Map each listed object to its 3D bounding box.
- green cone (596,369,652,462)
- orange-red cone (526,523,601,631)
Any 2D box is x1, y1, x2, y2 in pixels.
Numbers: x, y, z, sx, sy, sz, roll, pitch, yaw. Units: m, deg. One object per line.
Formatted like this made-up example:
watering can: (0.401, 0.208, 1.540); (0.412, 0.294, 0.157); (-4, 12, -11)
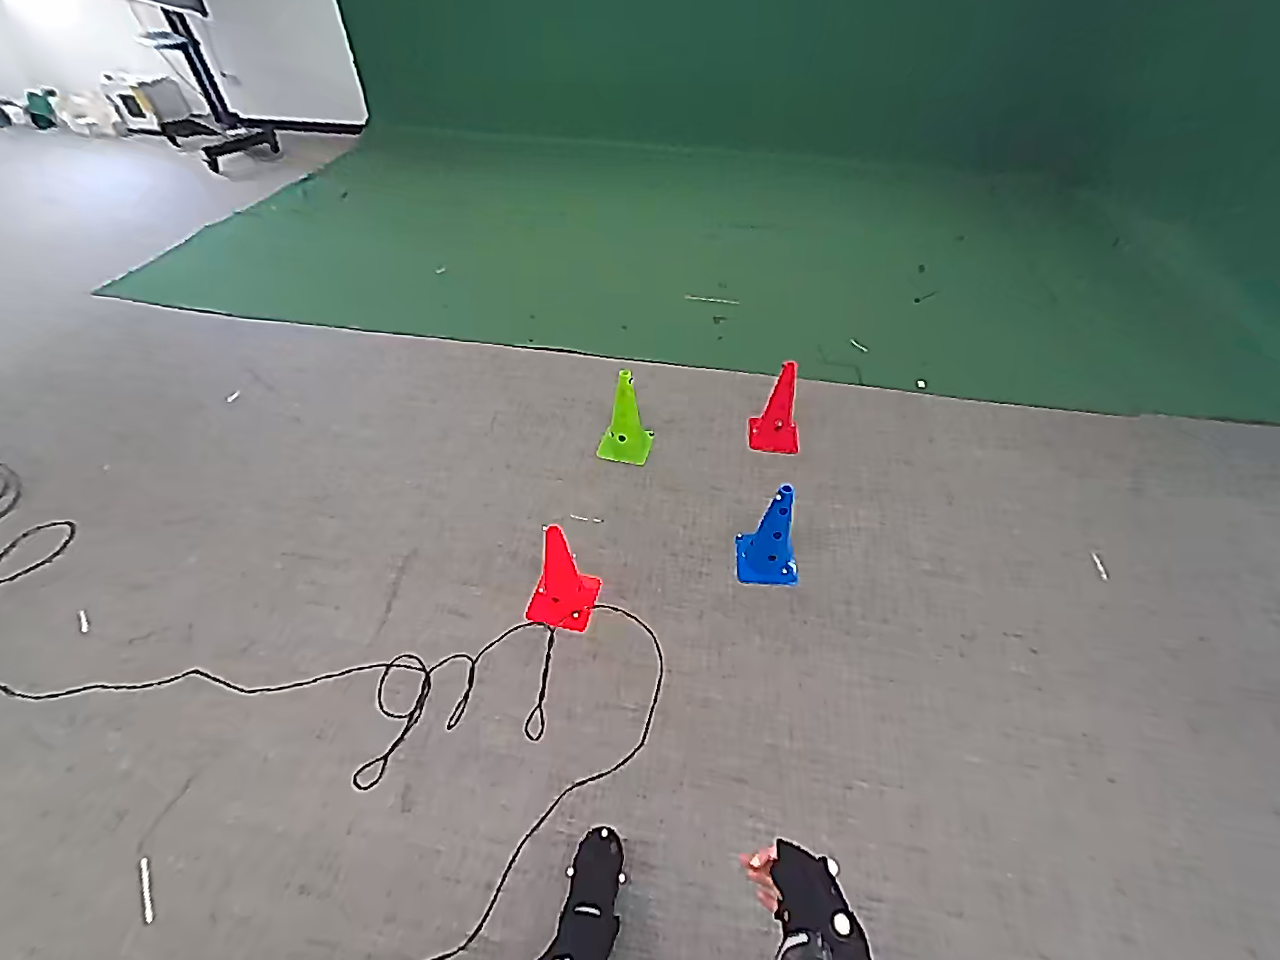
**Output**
green cone: (-0.064, -0.270, 2.066); (0.200, 0.368, 0.202); (9, 48, 8)
orange-red cone: (-0.235, 0.250, 1.581); (0.198, 0.360, 0.199); (12, 46, 9)
